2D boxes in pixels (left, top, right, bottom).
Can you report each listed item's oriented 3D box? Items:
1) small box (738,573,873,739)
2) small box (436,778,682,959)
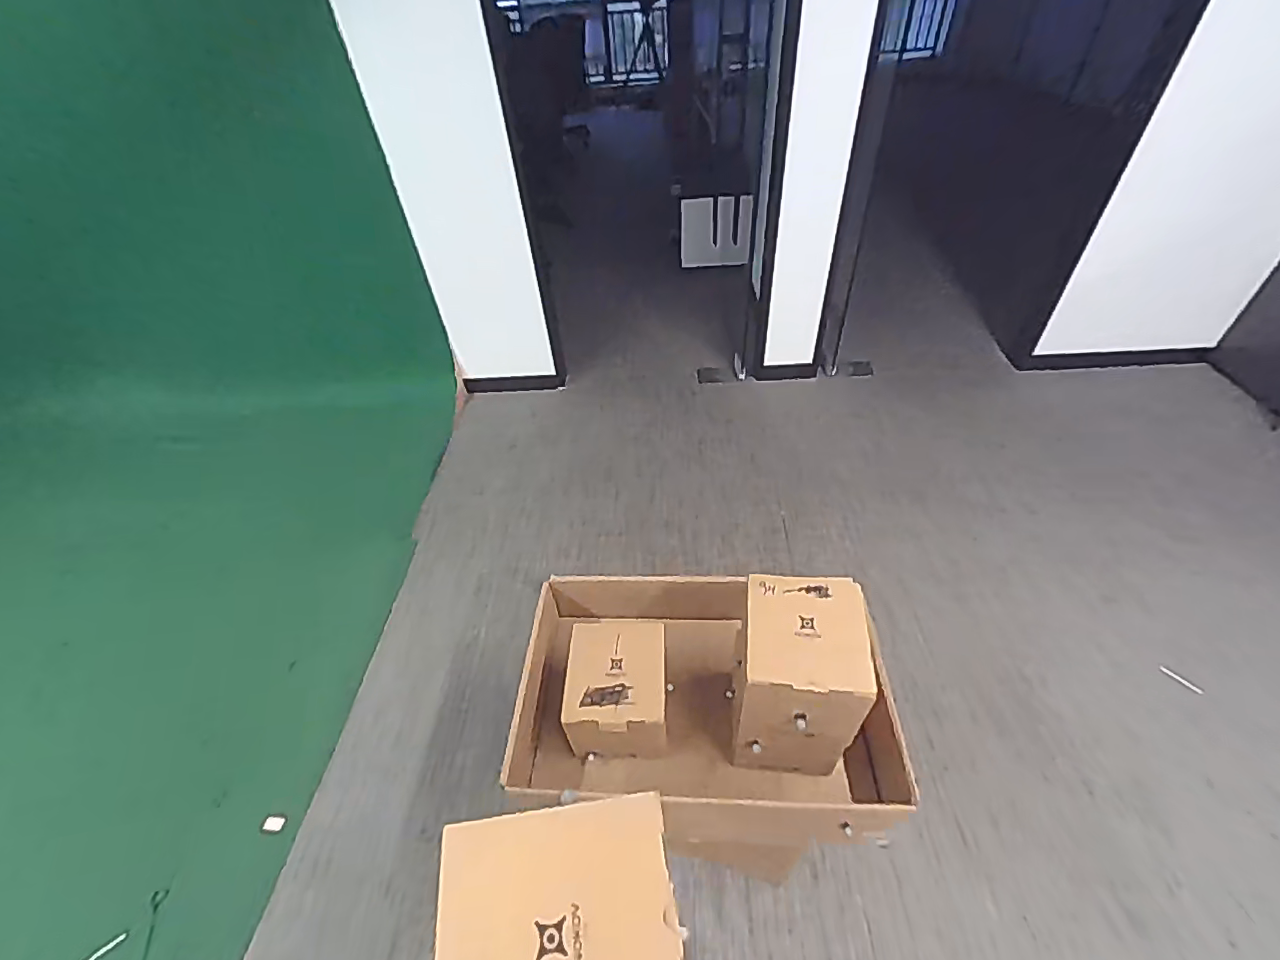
[{"bbox_3d":[0.237,0.264,0.809,0.168,0.176,0.179,4,46,9],"label":"small box"},{"bbox_3d":[-0.059,0.371,0.457,0.179,0.176,0.168,-7,52,-4],"label":"small box"}]
